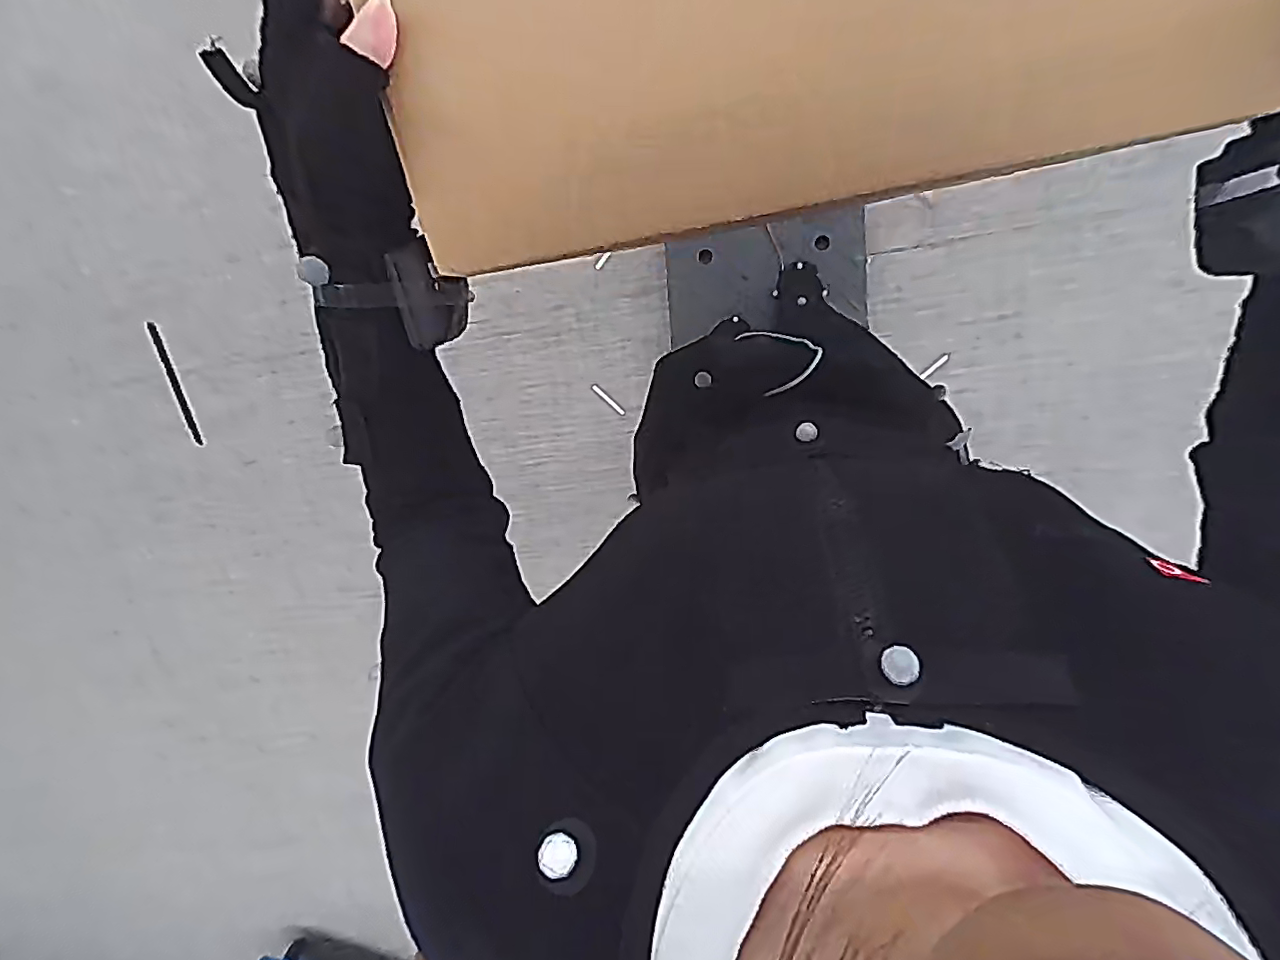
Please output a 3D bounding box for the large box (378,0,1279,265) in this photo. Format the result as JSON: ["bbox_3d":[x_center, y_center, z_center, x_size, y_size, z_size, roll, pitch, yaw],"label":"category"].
[{"bbox_3d":[0.073,-0.348,0.356,0.408,0.320,0.320,-8,113,10],"label":"large box"}]
